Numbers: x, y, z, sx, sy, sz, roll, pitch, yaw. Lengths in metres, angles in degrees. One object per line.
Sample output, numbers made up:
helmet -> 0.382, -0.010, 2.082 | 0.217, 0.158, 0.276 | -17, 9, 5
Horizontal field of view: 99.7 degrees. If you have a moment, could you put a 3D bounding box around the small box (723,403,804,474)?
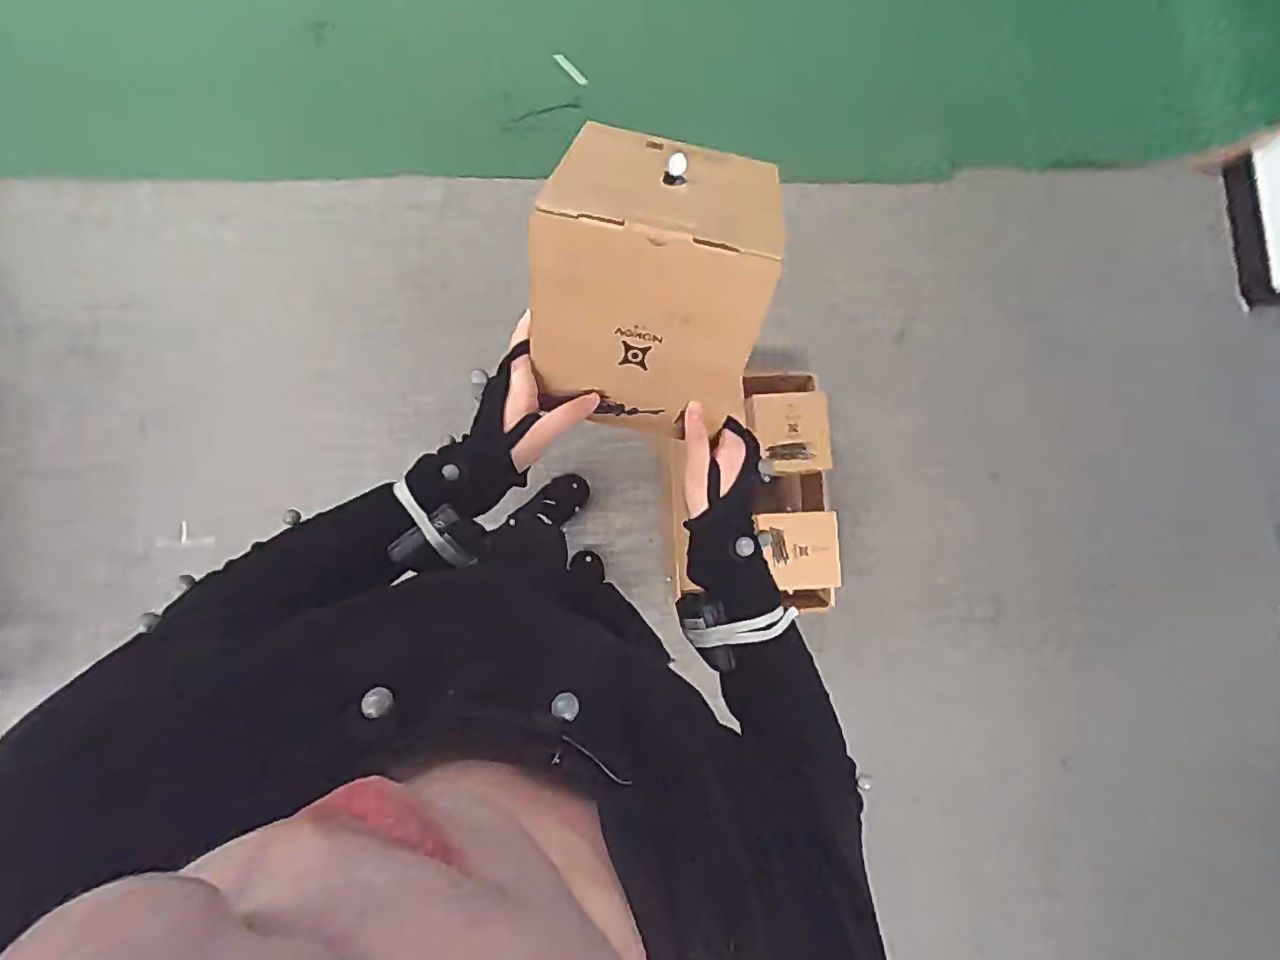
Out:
small box -> 0.319, -0.104, 1.428 | 0.179, 0.176, 0.168 | 2, 87, -4

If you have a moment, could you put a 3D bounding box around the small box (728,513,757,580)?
small box -> 0.328, 0.170, 1.410 | 0.179, 0.176, 0.168 | -2, 86, -4

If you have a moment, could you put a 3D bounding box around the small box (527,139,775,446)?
small box -> 0.005, -0.161, 0.462 | 0.168, 0.179, 0.176 | 12, 49, -1

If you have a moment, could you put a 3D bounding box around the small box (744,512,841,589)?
small box -> 0.341, 0.158, 1.246 | 0.179, 0.176, 0.168 | -1, 86, -4
